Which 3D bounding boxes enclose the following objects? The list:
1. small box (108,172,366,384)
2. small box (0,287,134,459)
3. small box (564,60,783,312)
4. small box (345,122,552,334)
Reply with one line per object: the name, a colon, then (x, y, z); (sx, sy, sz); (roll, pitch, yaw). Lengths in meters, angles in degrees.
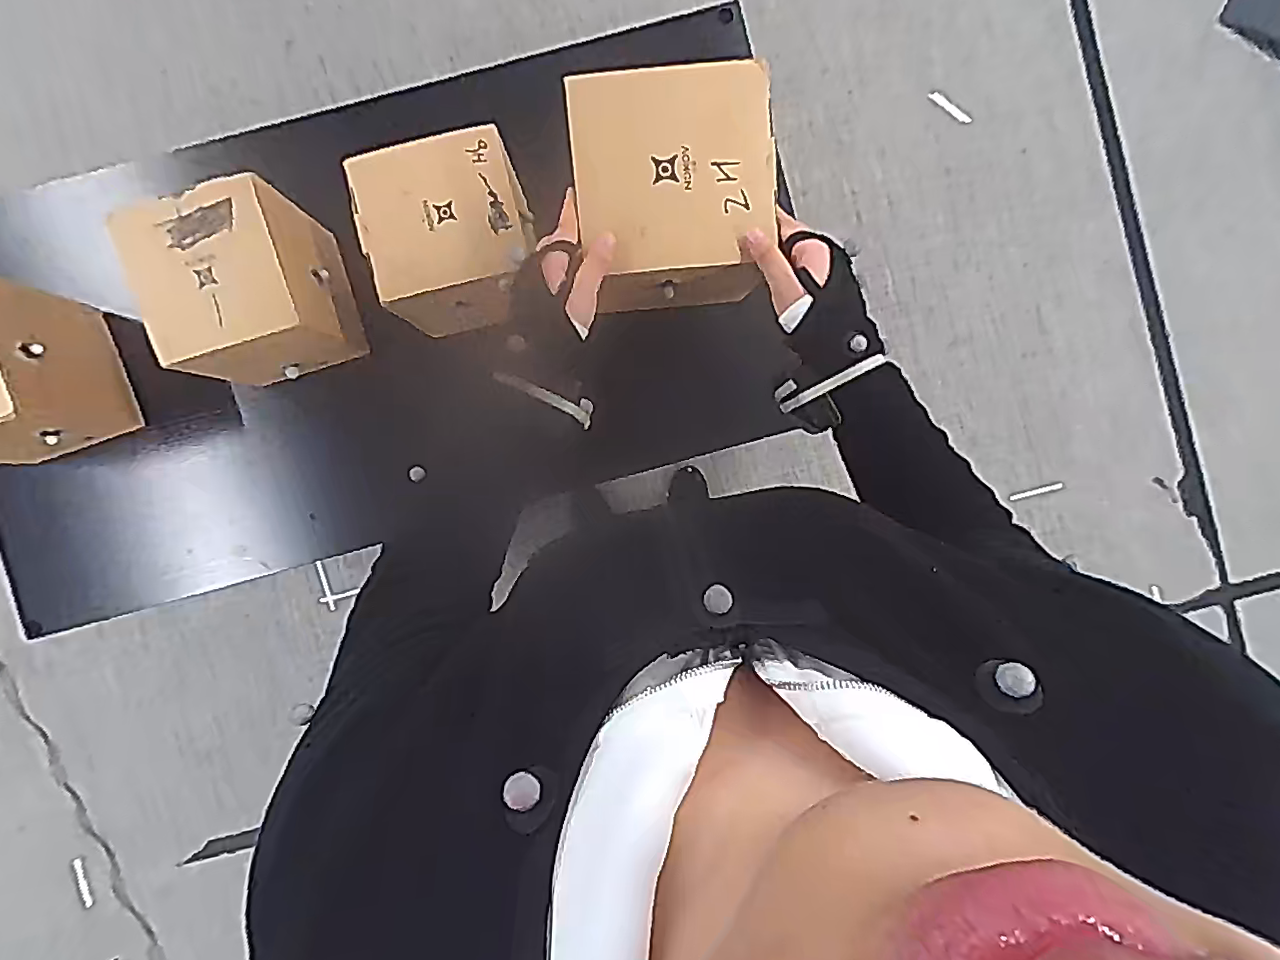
small box: (-0.475, -0.233, 0.667); (0.168, 0.176, 0.179); (-17, 93, -1)
small box: (-0.790, -0.128, 0.664); (0.168, 0.176, 0.179); (-20, 91, -2)
small box: (0.029, -0.267, 0.532); (0.179, 0.176, 0.168); (-5, 98, -1)
small box: (-0.222, -0.295, 0.672); (0.179, 0.176, 0.168); (-14, 92, 0)
